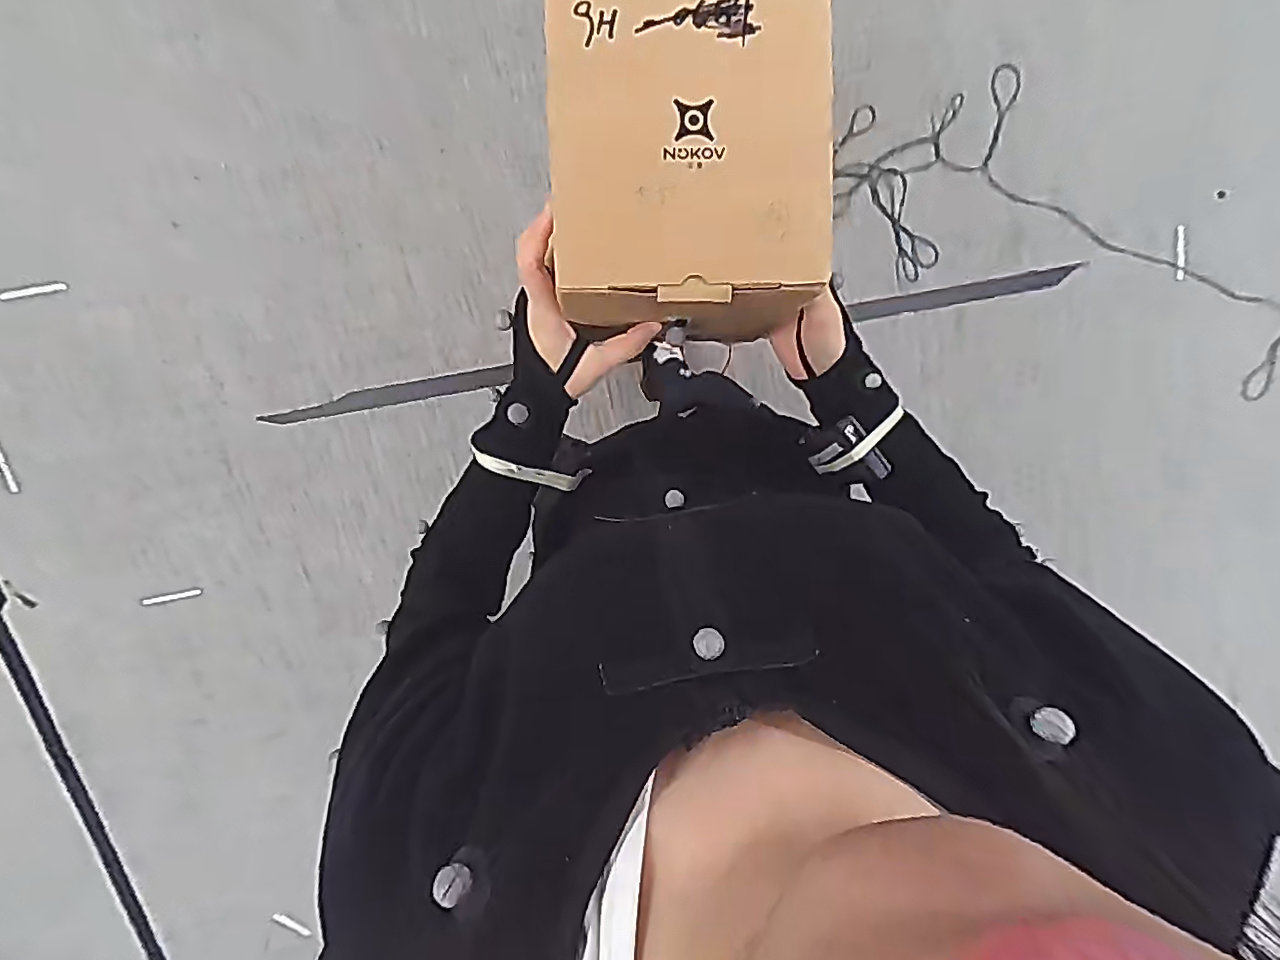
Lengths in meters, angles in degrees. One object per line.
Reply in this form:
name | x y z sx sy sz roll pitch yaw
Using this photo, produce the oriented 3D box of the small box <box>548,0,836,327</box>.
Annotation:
small box | 0.027 -0.211 0.391 0.168 0.176 0.179 -2 95 -4
